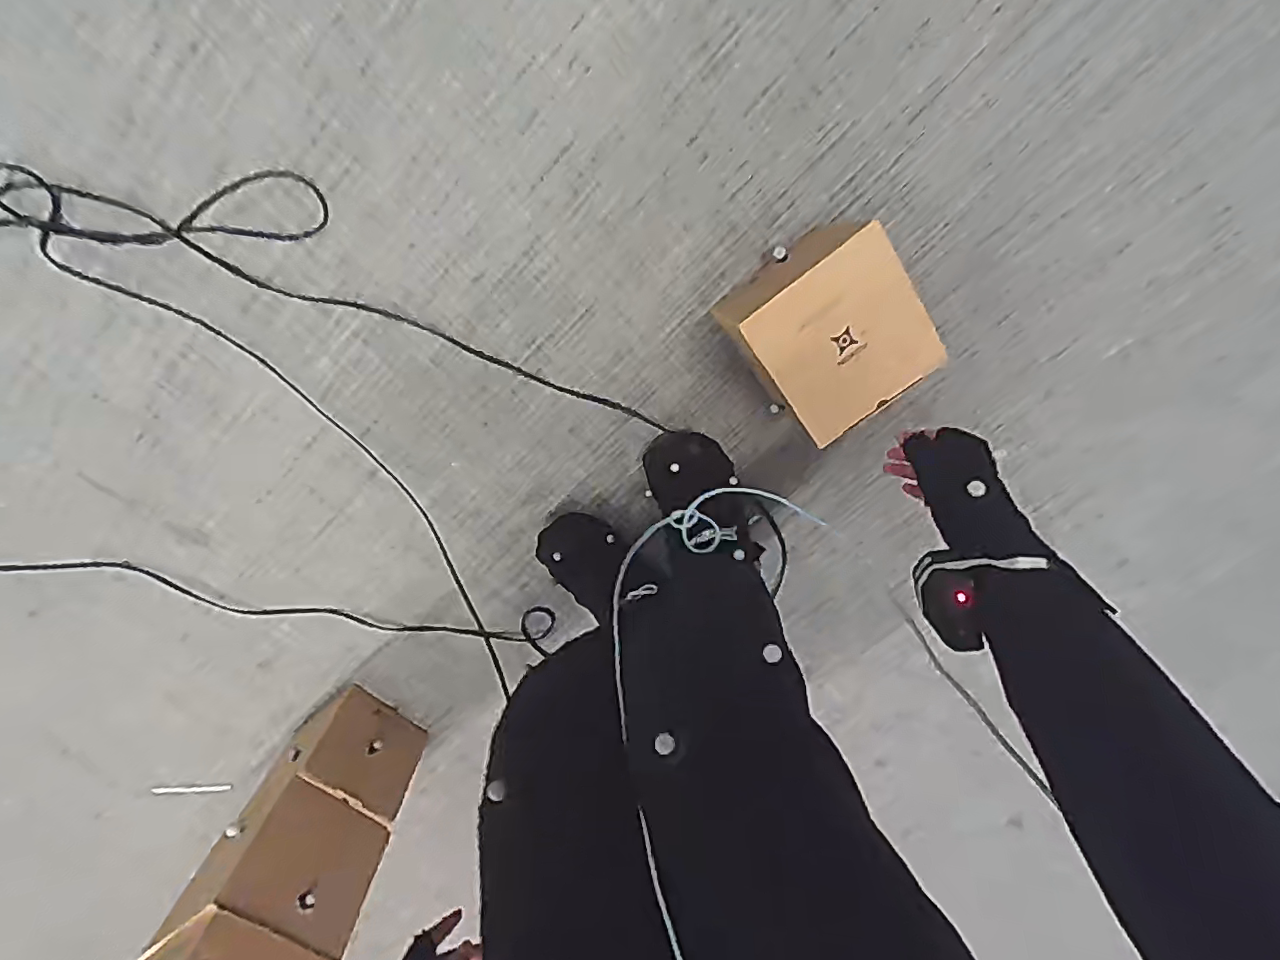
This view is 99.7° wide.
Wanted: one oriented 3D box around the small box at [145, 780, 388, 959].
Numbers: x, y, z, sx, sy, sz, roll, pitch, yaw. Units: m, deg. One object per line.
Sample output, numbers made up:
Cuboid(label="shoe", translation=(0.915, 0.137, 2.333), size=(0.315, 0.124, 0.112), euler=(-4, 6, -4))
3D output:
Cuboid(label="small box", translation=(-0.484, 0.552, 0.733), size=(0.168, 0.176, 0.179), euler=(-39, 109, 14))

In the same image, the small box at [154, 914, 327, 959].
Cuboid(label="small box", translation=(-0.472, 0.623, 0.587), size=(0.168, 0.176, 0.179), euler=(-39, 109, 14))

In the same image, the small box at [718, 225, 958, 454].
Cuboid(label="small box", translation=(0.213, -0.166, 0.620), size=(0.168, 0.176, 0.179), euler=(-36, 110, 12))

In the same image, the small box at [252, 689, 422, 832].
Cuboid(label="small box", translation=(-0.484, 0.481, 0.882), size=(0.179, 0.176, 0.168), euler=(-40, 109, 14))
